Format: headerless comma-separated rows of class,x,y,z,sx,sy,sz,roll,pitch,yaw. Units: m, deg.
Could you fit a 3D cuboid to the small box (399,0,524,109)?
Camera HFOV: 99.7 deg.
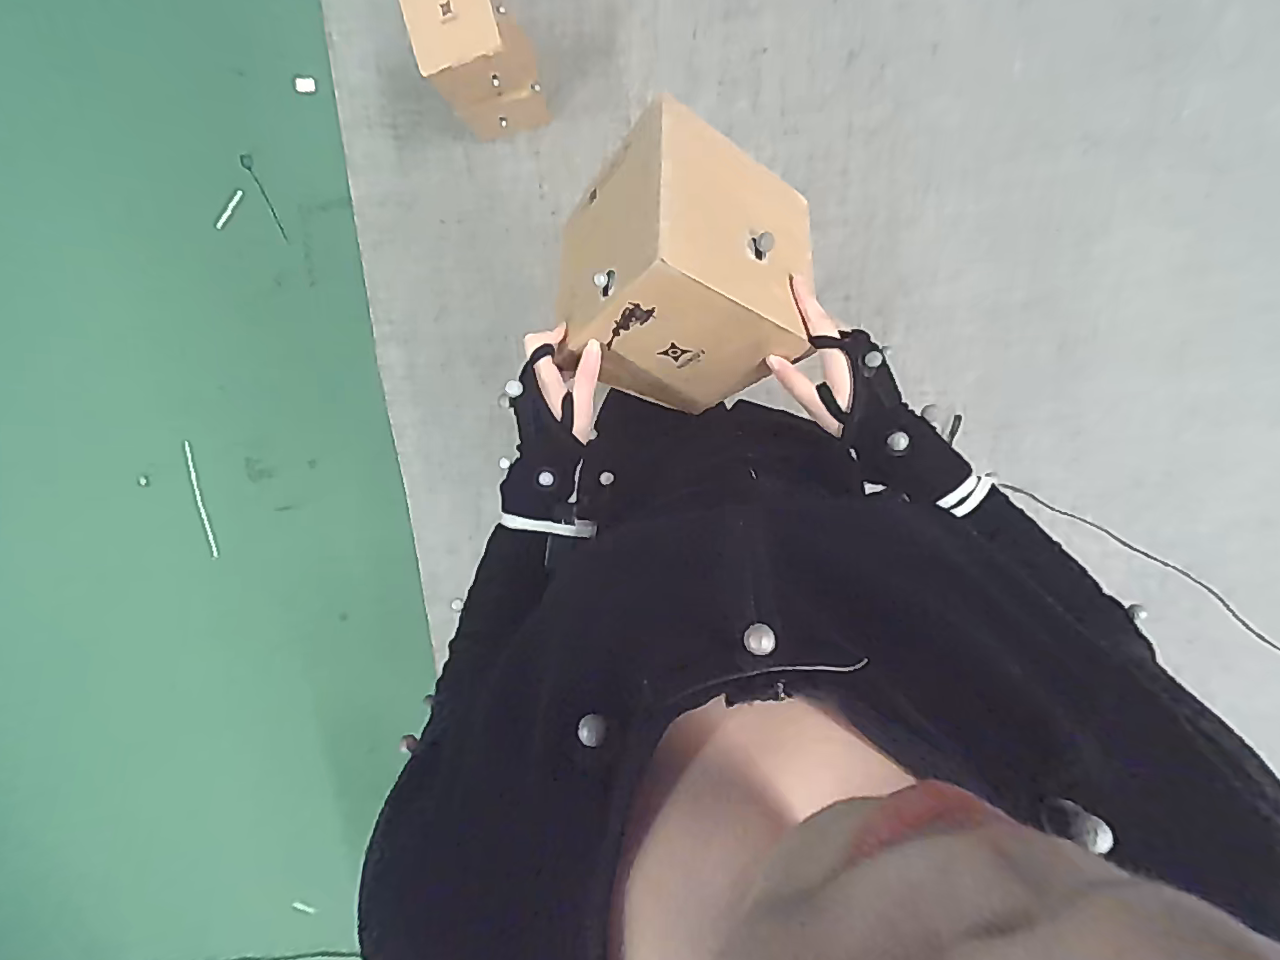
small box,-0.346,-0.870,1.069,0.168,0.176,0.179,-12,101,8

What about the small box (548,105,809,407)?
small box,0.033,-0.193,0.504,0.179,0.168,0.176,14,67,-32
